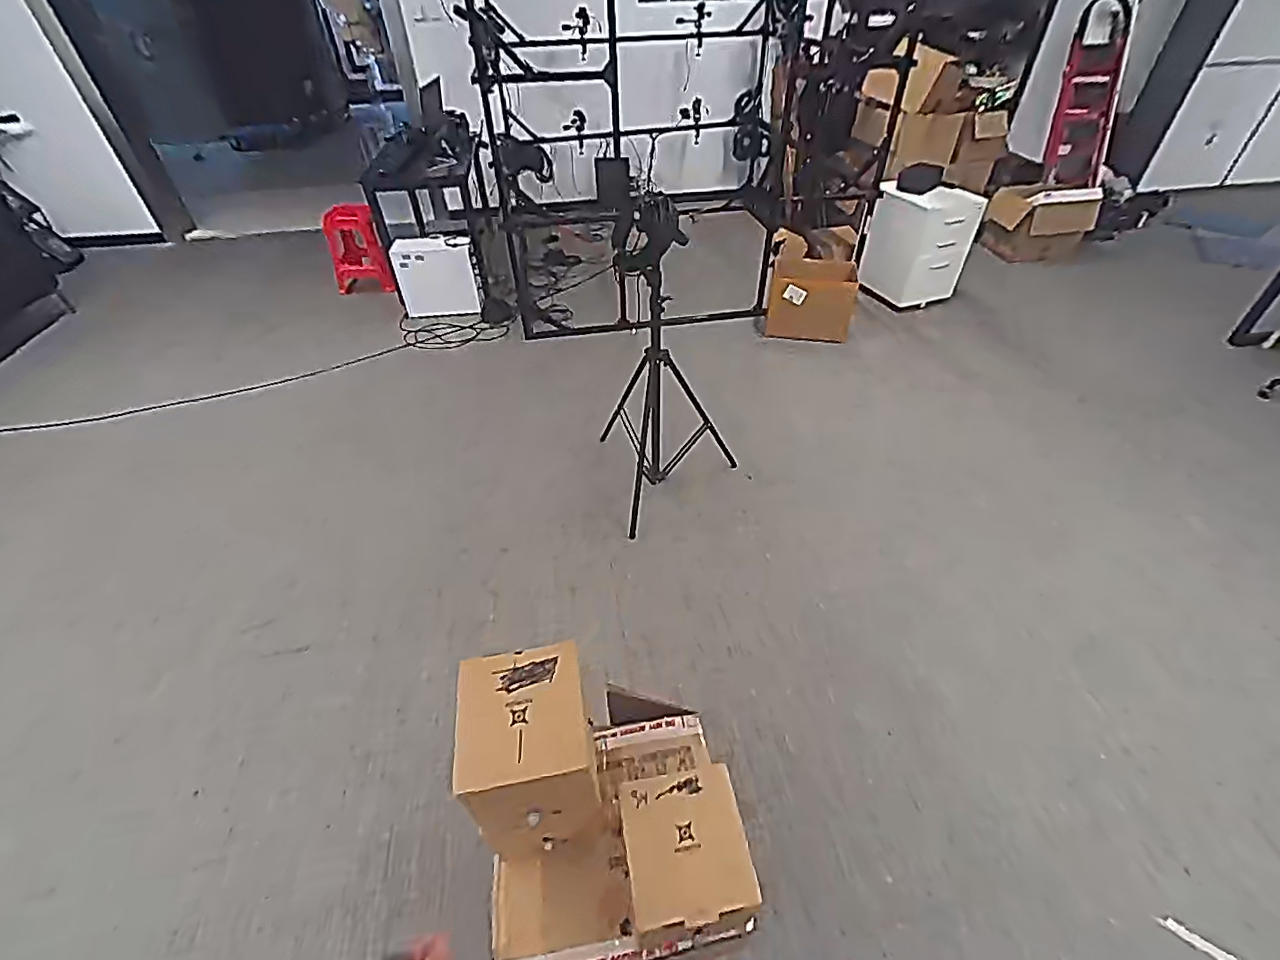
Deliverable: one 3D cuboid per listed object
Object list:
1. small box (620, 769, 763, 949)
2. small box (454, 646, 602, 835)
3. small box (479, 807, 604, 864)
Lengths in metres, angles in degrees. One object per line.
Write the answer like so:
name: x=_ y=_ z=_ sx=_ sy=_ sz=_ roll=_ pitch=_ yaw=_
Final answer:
small box: x=0.065 y=0.554 z=0.787 sx=0.168 sy=0.176 sz=0.179 roll=-7 pitch=44 yaw=-7
small box: x=-0.149 y=0.364 z=0.757 sx=0.168 sy=0.176 sz=0.179 roll=-9 pitch=45 yaw=-5
small box: x=-0.158 y=0.482 z=0.873 sx=0.168 sy=0.176 sz=0.179 roll=-12 pitch=45 yaw=-8
